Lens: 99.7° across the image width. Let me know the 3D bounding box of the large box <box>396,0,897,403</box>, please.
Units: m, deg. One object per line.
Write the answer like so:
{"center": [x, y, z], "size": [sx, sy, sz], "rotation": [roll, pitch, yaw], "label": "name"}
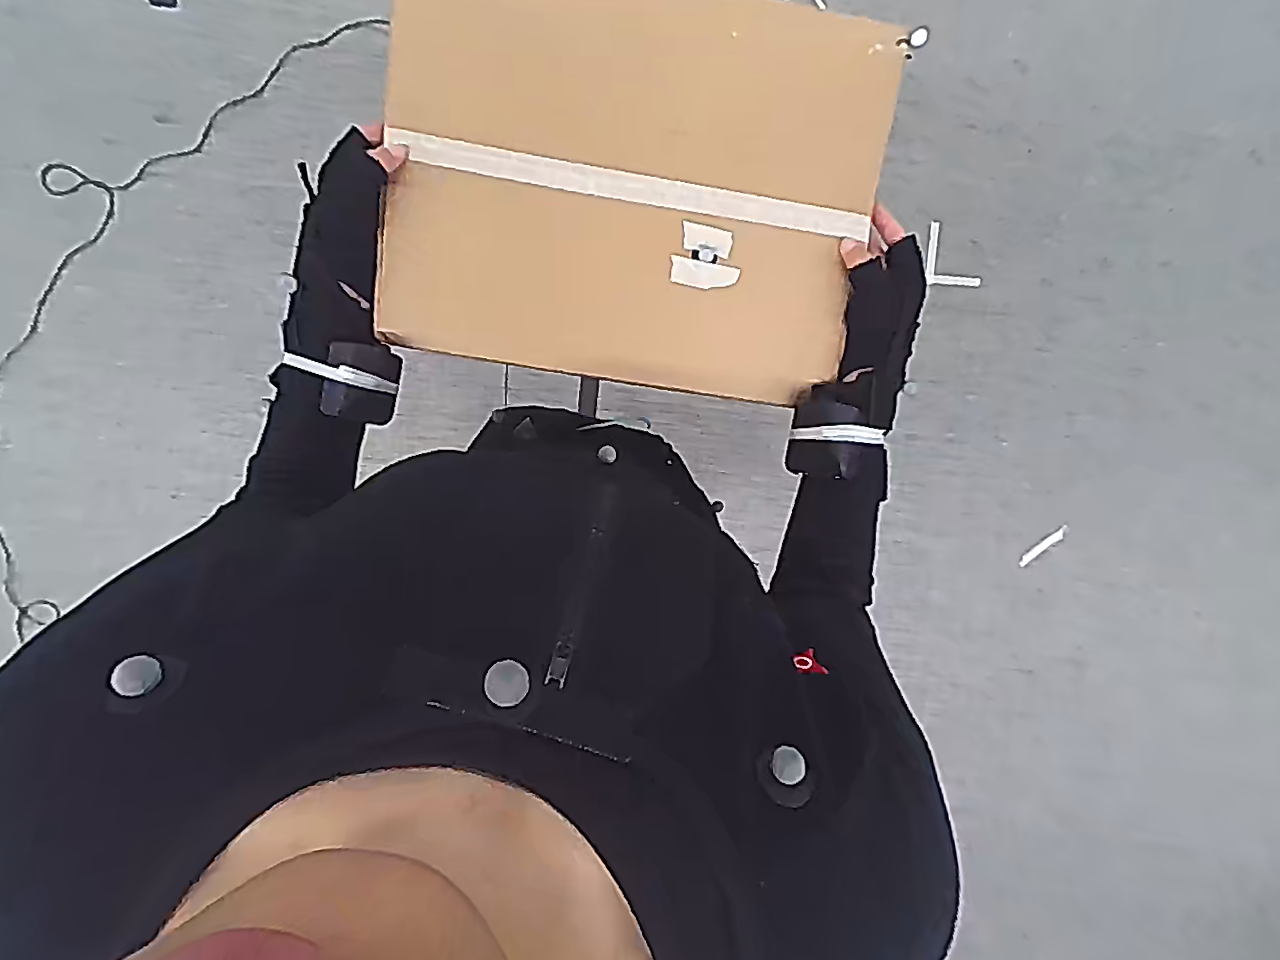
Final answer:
{"center": [-0.010, -0.273, 0.608], "size": [0.408, 0.320, 0.320], "rotation": [8, 102, -5], "label": "large box"}
